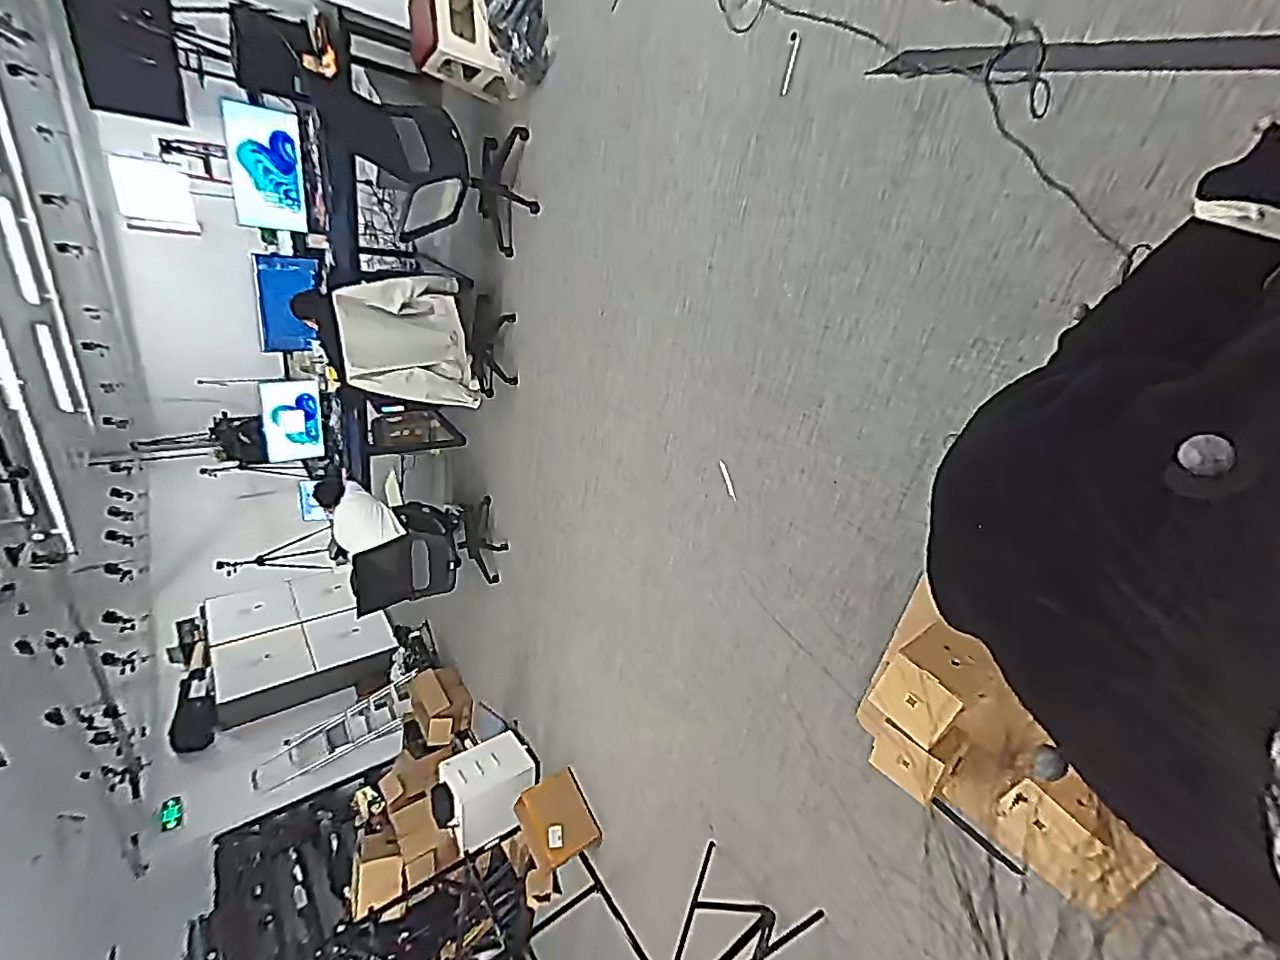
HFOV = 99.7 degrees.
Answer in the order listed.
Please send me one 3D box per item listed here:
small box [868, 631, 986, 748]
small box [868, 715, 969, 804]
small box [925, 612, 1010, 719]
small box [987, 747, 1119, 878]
[{"bbox_3d":[0.703,0.503,1.319,0.168,0.176,0.179,40,127,39],"label":"small box"},{"bbox_3d":[0.792,0.762,1.538,0.179,0.176,0.168,31,123,44],"label":"small box"},{"bbox_3d":[0.830,0.480,1.419,0.168,0.176,0.179,36,124,40],"label":"small box"},{"bbox_3d":[0.987,0.786,1.291,0.179,0.176,0.168,44,130,35],"label":"small box"}]
